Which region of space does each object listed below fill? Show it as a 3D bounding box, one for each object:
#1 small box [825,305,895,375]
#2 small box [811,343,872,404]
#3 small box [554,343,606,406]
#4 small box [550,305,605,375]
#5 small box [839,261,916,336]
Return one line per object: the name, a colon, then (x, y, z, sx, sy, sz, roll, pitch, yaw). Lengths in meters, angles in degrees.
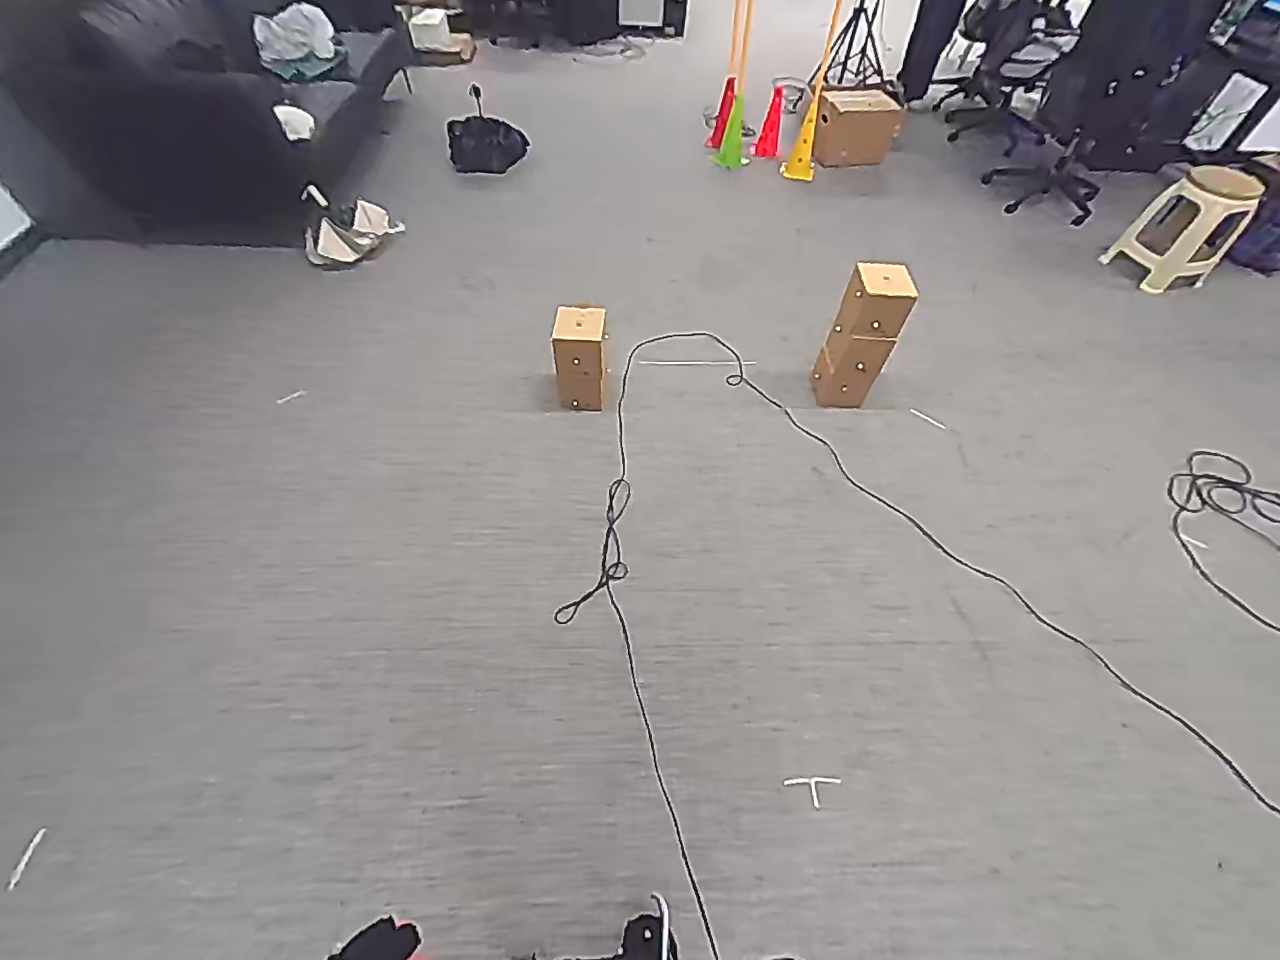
small box: (0.780, -0.503, 1.940, 0.168, 0.176, 0.179, 3, 54, -1)
small box: (0.766, -0.405, 2.072, 0.179, 0.176, 0.168, 2, 53, -1)
small box: (-0.219, -0.401, 2.007, 0.168, 0.176, 0.179, 5, 53, 1)
small box: (-0.211, -0.486, 1.886, 0.168, 0.176, 0.179, 3, 52, 0)
small box: (0.787, -0.607, 1.815, 0.168, 0.176, 0.179, 3, 54, -2)
